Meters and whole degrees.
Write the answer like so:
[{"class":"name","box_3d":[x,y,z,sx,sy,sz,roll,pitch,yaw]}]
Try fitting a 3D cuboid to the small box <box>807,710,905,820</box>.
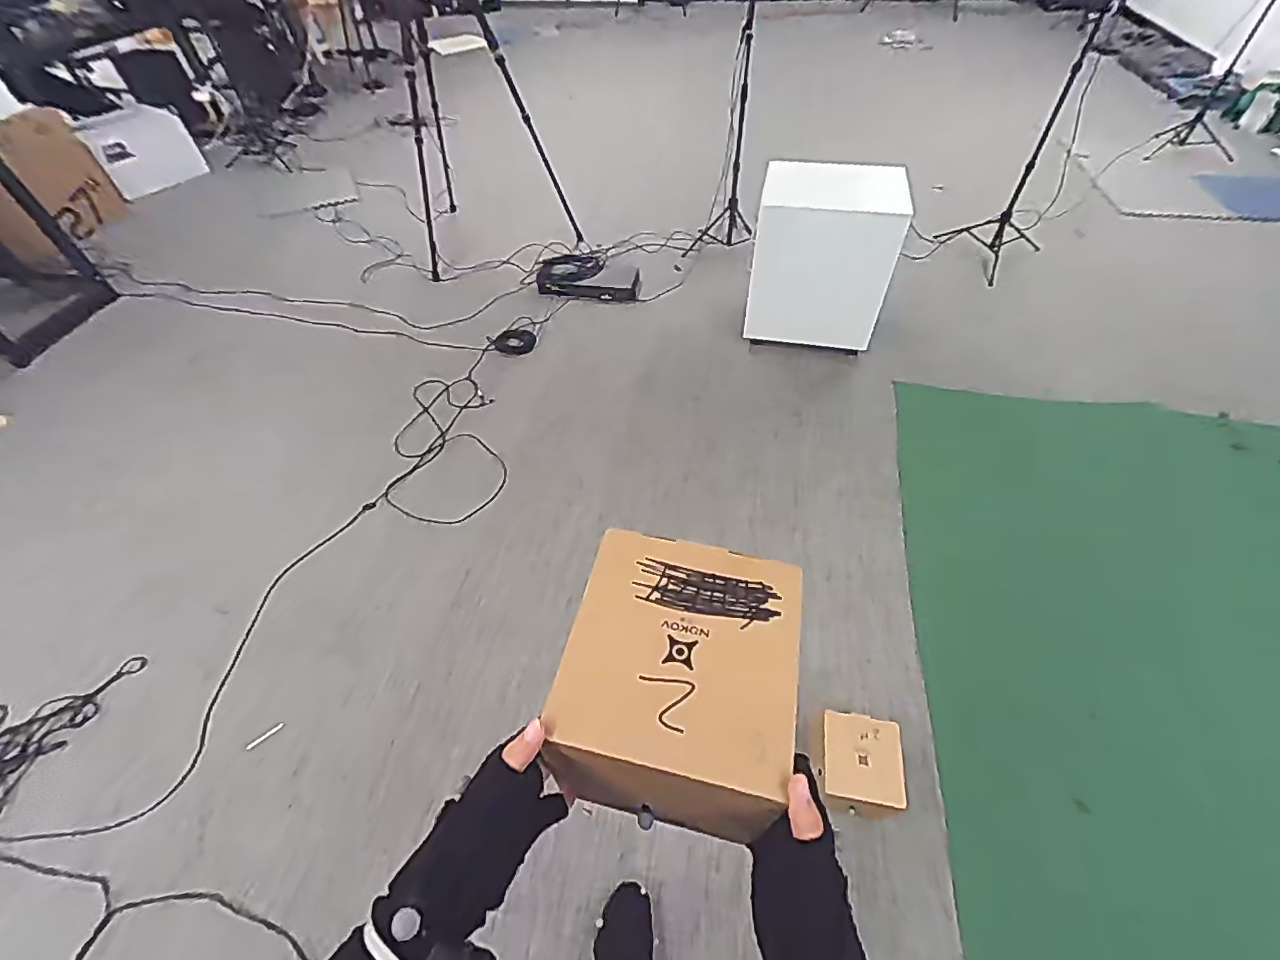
[{"class":"small box","box_3d":[0.483,0.652,1.229,0.168,0.176,0.179,8,51,8]}]
